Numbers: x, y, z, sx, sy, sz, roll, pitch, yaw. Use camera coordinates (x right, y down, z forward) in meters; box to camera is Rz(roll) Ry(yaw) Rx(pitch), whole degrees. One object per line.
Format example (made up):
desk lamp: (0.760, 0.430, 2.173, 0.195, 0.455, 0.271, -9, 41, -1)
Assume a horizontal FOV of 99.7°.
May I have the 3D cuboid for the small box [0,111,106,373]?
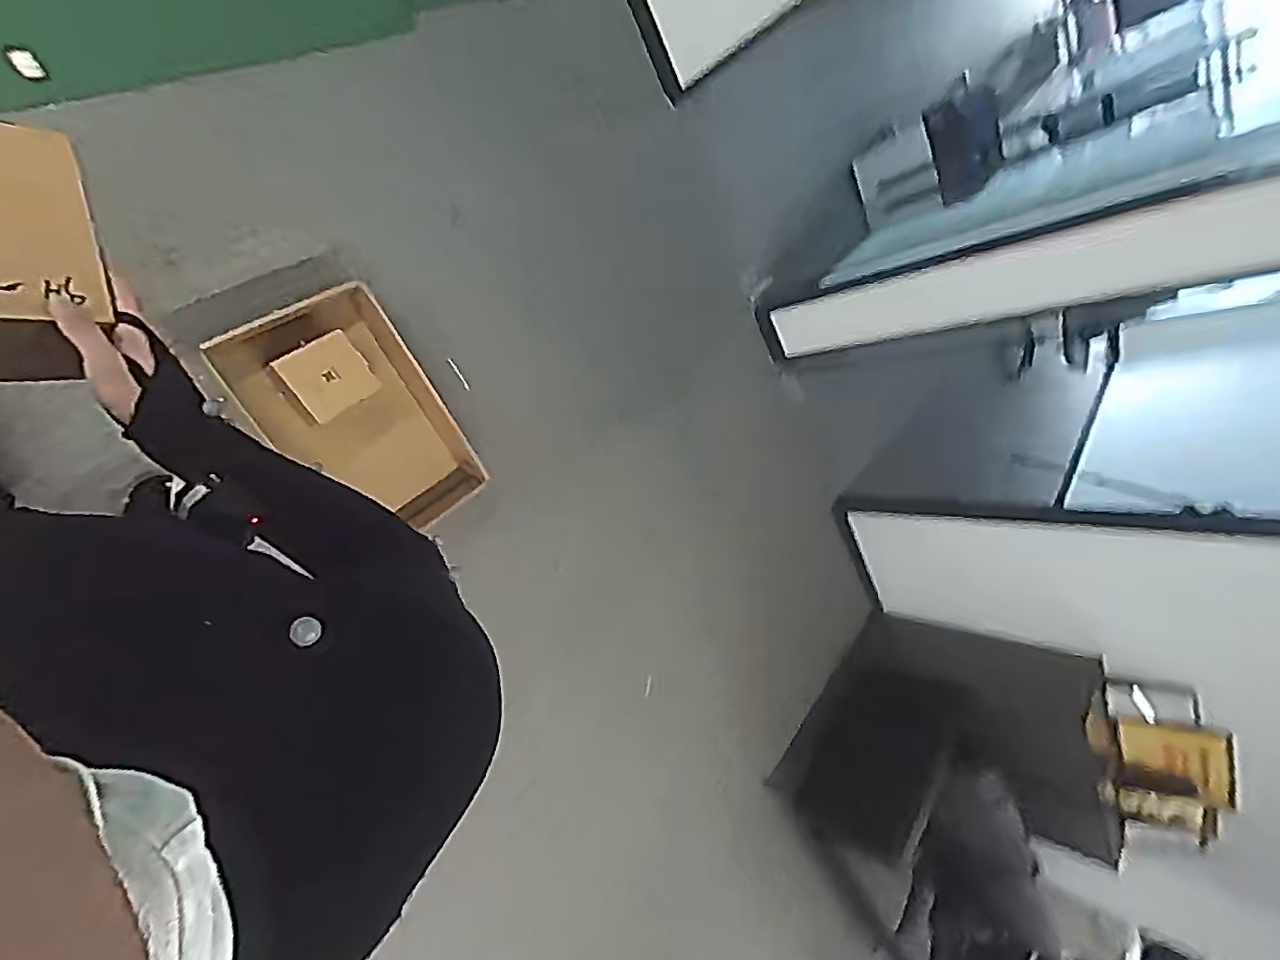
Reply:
small box: (-0.600, -0.201, 0.466, 0.168, 0.176, 0.179, -16, 93, -48)
